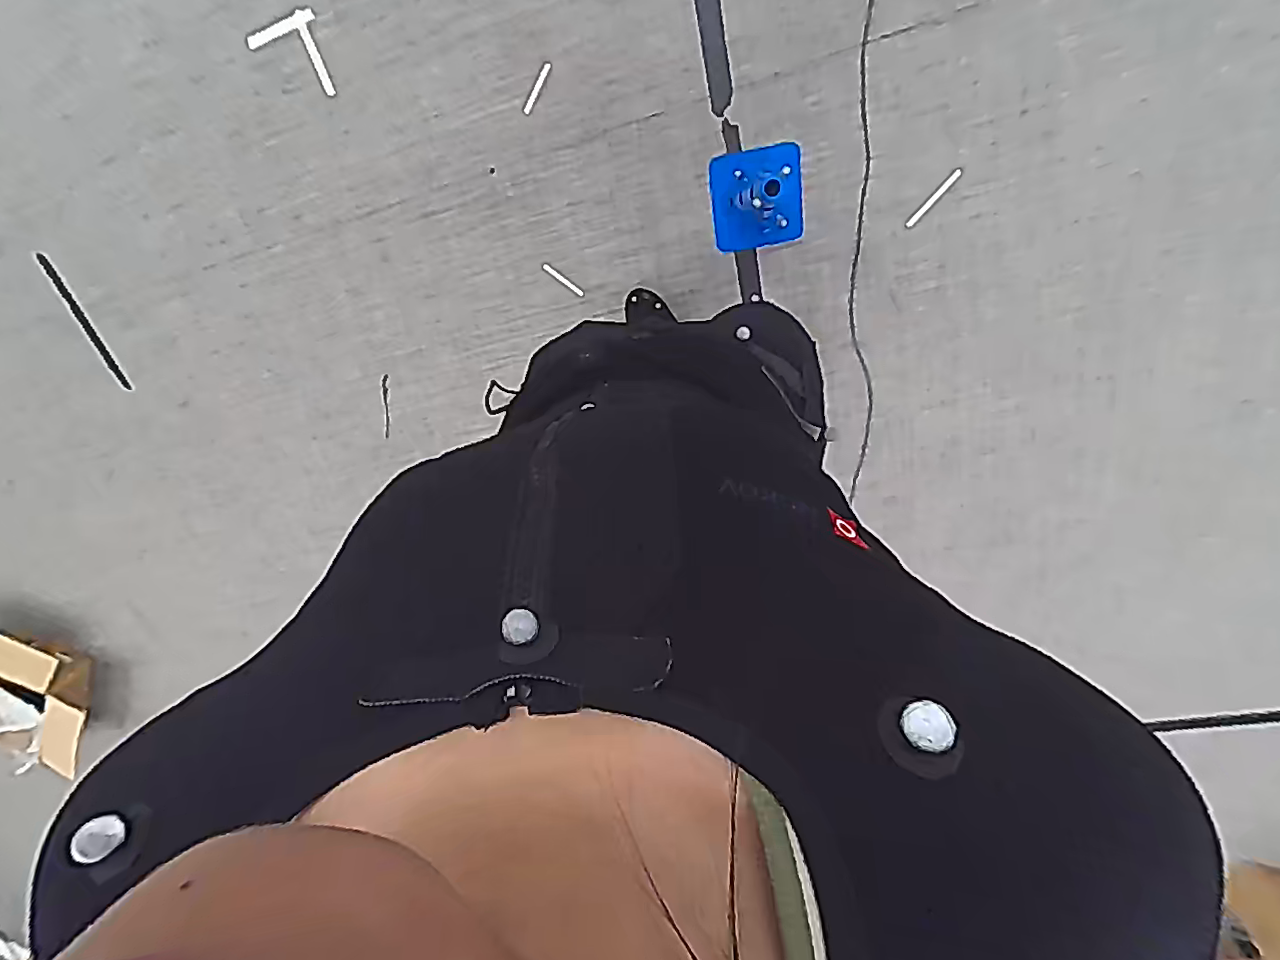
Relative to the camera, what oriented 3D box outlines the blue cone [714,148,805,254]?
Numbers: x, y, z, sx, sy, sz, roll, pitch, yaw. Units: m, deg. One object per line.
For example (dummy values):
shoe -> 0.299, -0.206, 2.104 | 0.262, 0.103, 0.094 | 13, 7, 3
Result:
blue cone -> 0.247, -0.554, 1.055 | 0.193, 0.380, 0.192 | -8, 113, 10
